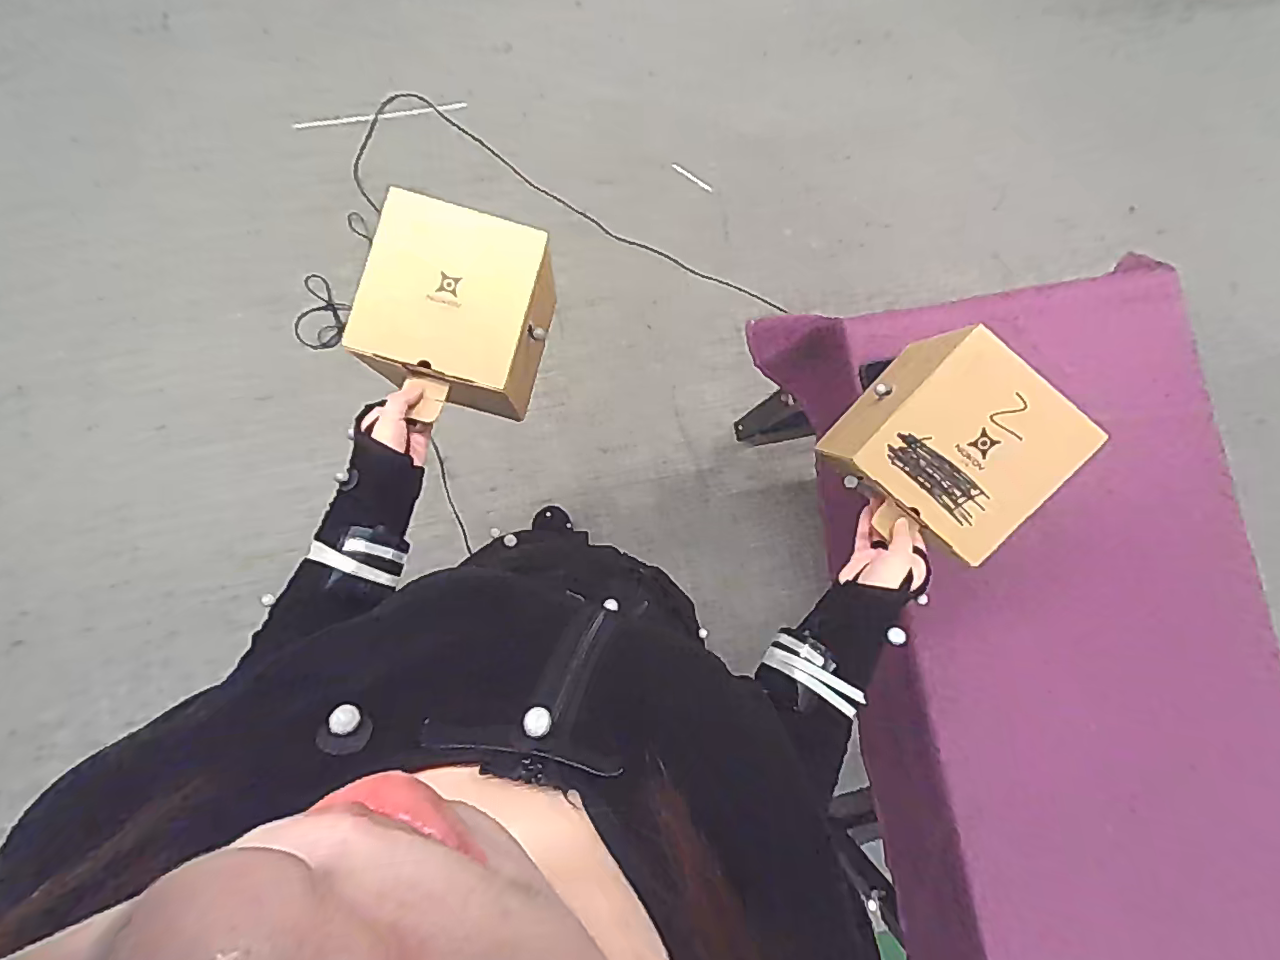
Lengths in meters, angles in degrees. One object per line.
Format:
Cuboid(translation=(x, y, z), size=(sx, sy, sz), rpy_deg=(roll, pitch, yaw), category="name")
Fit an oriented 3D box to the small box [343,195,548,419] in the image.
Cuboid(translation=(-0.209, -0.186, 0.635), size=(0.168, 0.176, 0.179), rpy_deg=(14, 85, -4), category="small box")
